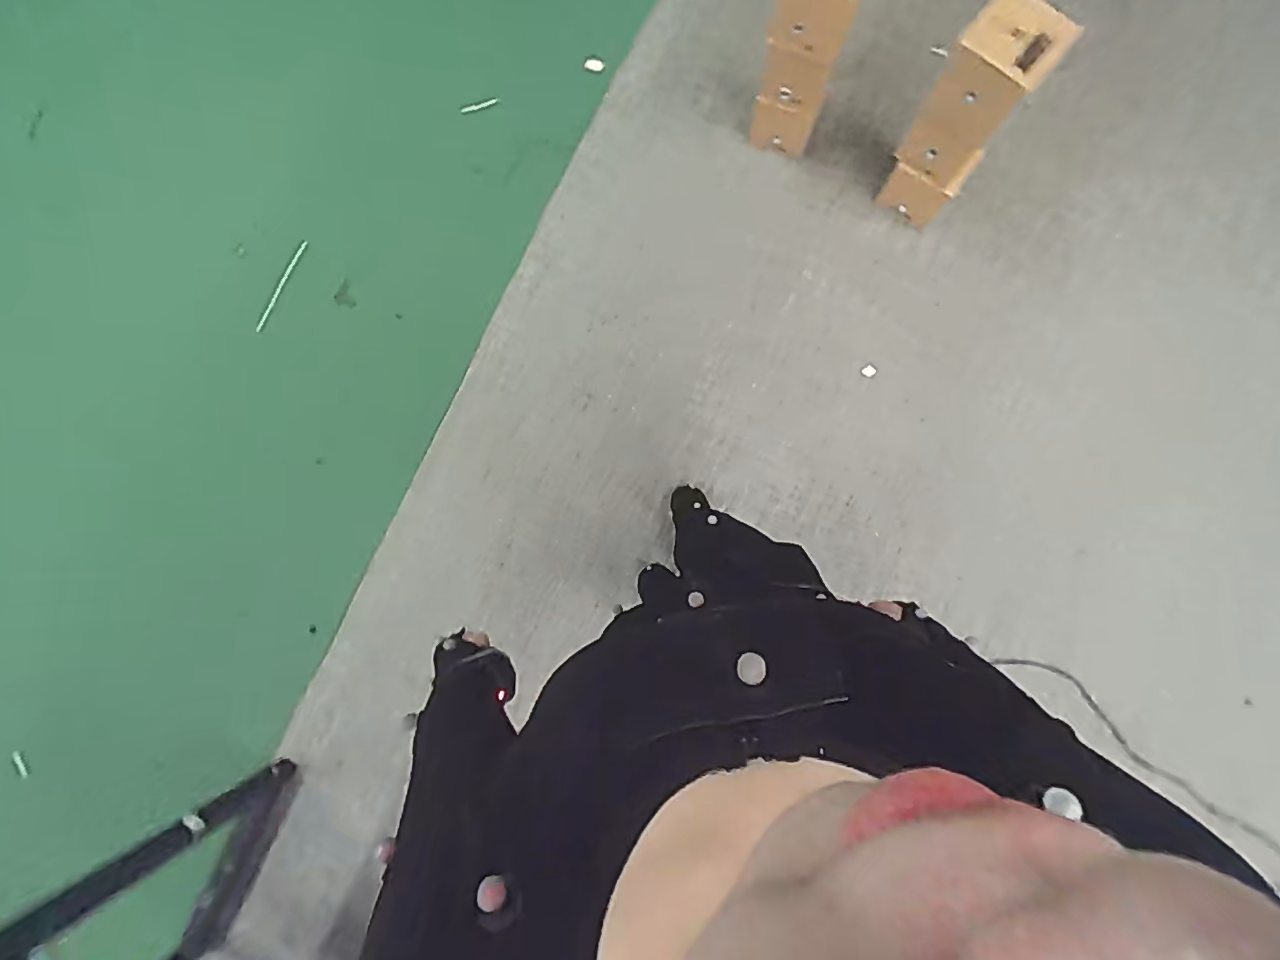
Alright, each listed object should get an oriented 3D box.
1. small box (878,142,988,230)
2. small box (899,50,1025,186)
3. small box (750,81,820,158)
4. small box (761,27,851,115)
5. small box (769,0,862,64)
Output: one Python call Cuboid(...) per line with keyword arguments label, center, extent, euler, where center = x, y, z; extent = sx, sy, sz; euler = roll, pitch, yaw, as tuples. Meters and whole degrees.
Cuboid(label="small box", center=(0.777, -0.823, 1.458), extent=(0.168, 0.176, 0.179), euler=(35, 89, 6))
Cuboid(label="small box", center=(0.755, -0.856, 1.298), extent=(0.168, 0.176, 0.179), euler=(39, 89, 6))
Cuboid(label="small box", center=(0.415, -1.046, 1.502), extent=(0.168, 0.176, 0.179), euler=(21, 86, 6))
Cuboid(label="small box", center=(0.411, -1.063, 1.341), extent=(0.168, 0.176, 0.179), euler=(21, 87, 6))
Cuboid(label="small box", center=(0.399, -1.074, 1.179), extent=(0.168, 0.176, 0.179), euler=(28, 87, 6))
